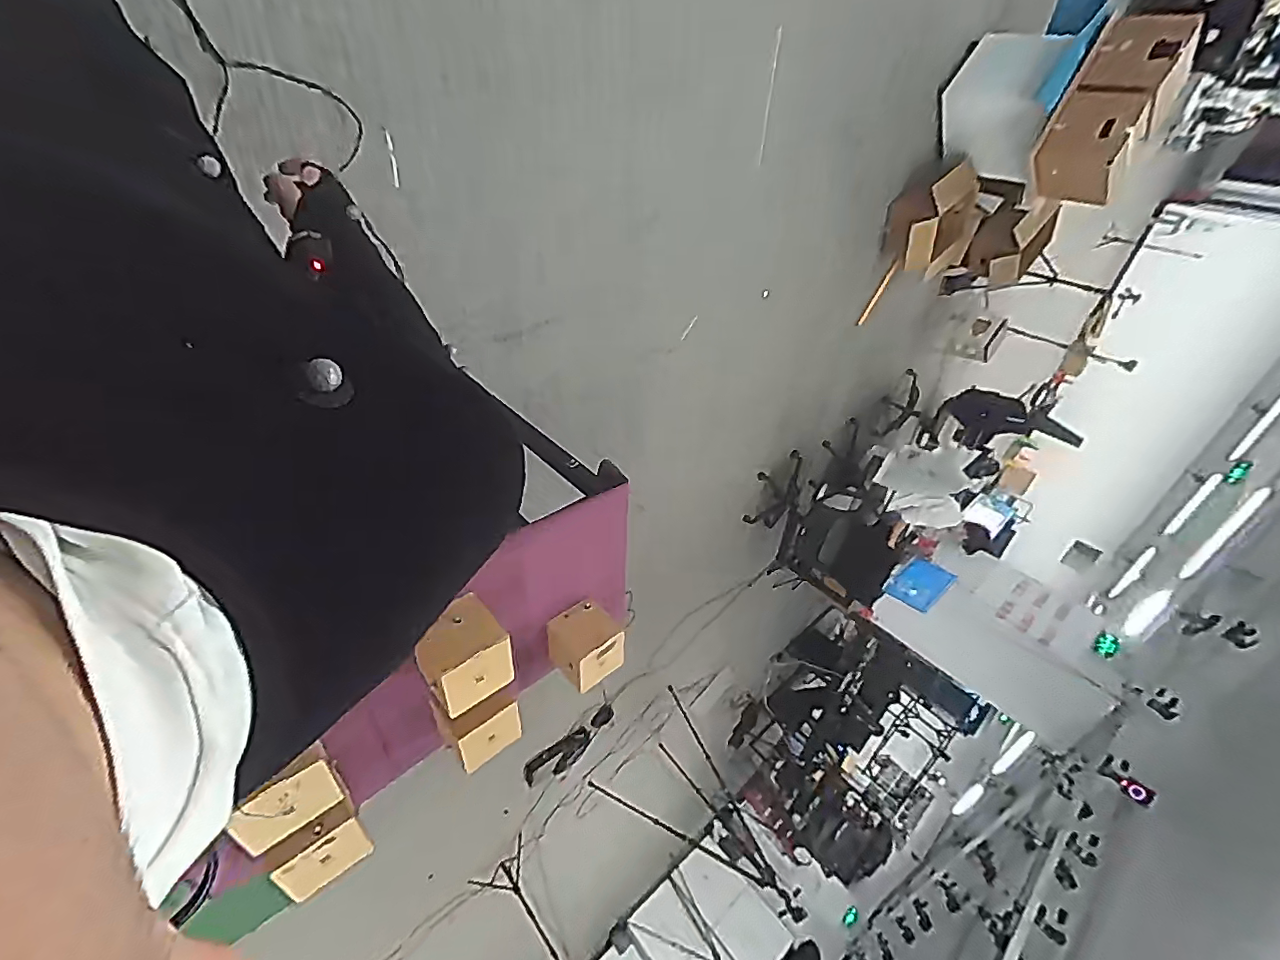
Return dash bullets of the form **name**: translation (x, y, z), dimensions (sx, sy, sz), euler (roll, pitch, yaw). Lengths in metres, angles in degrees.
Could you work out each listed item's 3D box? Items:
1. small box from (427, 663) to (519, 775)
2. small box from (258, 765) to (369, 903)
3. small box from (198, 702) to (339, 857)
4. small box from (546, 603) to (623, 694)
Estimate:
- **small box**: translation (-0.439, 0.623, 1.426), dimensions (0.168, 0.176, 0.179), euler (-26, 136, -34)
- **small box**: translation (-0.738, 0.782, 1.209), dimensions (0.168, 0.176, 0.179), euler (-27, 137, -34)
- **small box**: translation (-0.718, 0.573, 1.052), dimensions (0.168, 0.176, 0.179), euler (-26, 138, -36)
- **small box**: translation (-0.169, 0.495, 1.625), dimensions (0.168, 0.176, 0.179), euler (-26, 137, -33)
